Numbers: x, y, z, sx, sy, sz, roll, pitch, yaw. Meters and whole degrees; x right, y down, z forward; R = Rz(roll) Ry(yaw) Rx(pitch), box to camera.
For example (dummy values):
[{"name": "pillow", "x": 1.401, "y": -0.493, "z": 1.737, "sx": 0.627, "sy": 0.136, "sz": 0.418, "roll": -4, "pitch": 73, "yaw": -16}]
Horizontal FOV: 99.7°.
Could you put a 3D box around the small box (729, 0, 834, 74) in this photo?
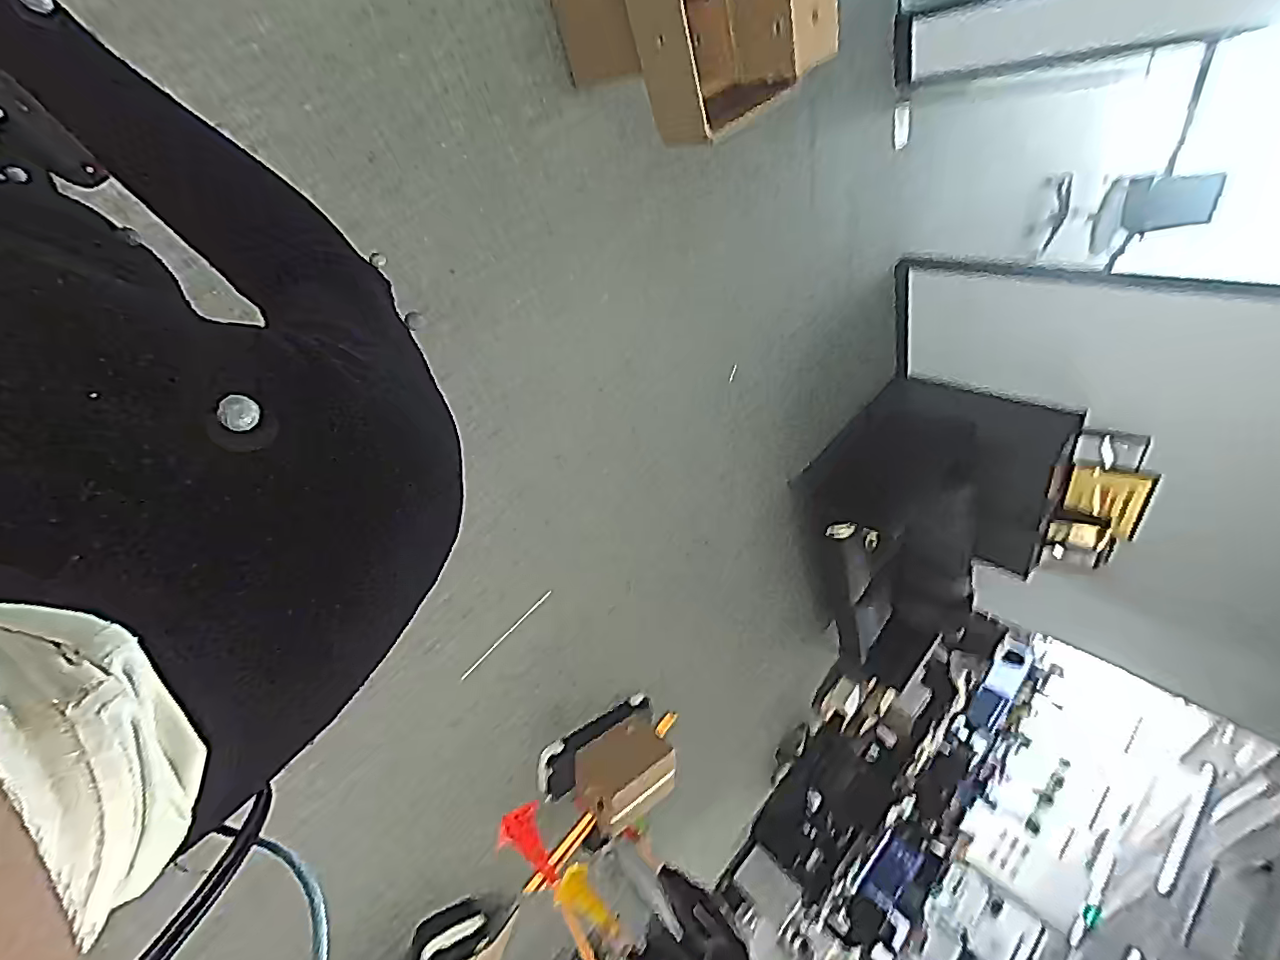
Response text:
[{"name": "small box", "x": 0.318, "y": -1.056, "z": 1.224, "sx": 0.168, "sy": 0.176, "sz": 0.179, "roll": -41, "pitch": 136, "yaw": -21}]
